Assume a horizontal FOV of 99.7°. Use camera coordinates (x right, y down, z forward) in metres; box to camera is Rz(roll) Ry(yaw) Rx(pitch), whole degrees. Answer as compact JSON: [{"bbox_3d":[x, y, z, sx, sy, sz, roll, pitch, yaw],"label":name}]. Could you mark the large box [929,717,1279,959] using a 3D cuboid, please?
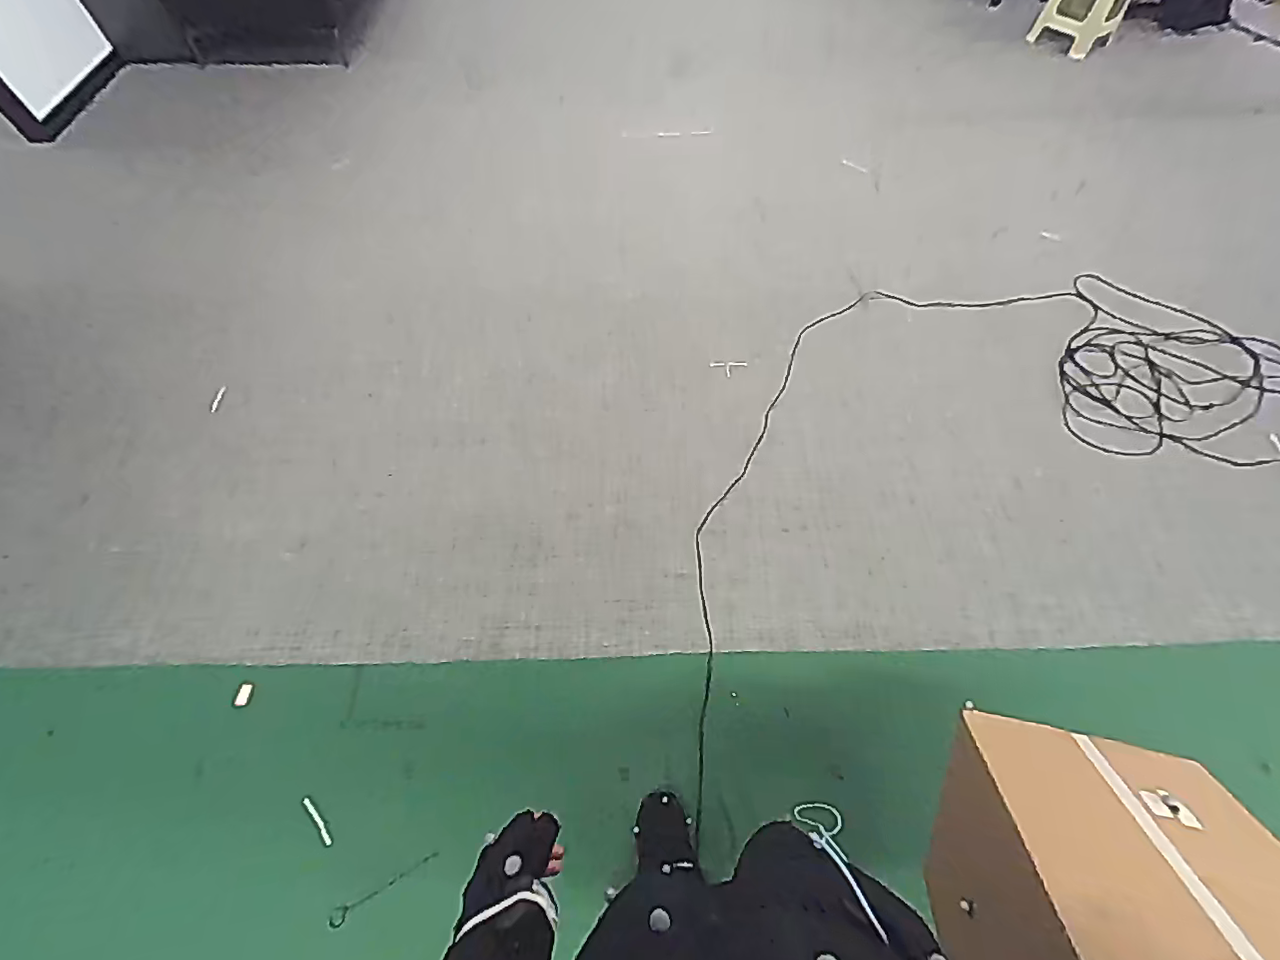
[{"bbox_3d":[0.587,0.573,0.659,0.320,0.408,0.320,9,102,15],"label":"large box"}]
